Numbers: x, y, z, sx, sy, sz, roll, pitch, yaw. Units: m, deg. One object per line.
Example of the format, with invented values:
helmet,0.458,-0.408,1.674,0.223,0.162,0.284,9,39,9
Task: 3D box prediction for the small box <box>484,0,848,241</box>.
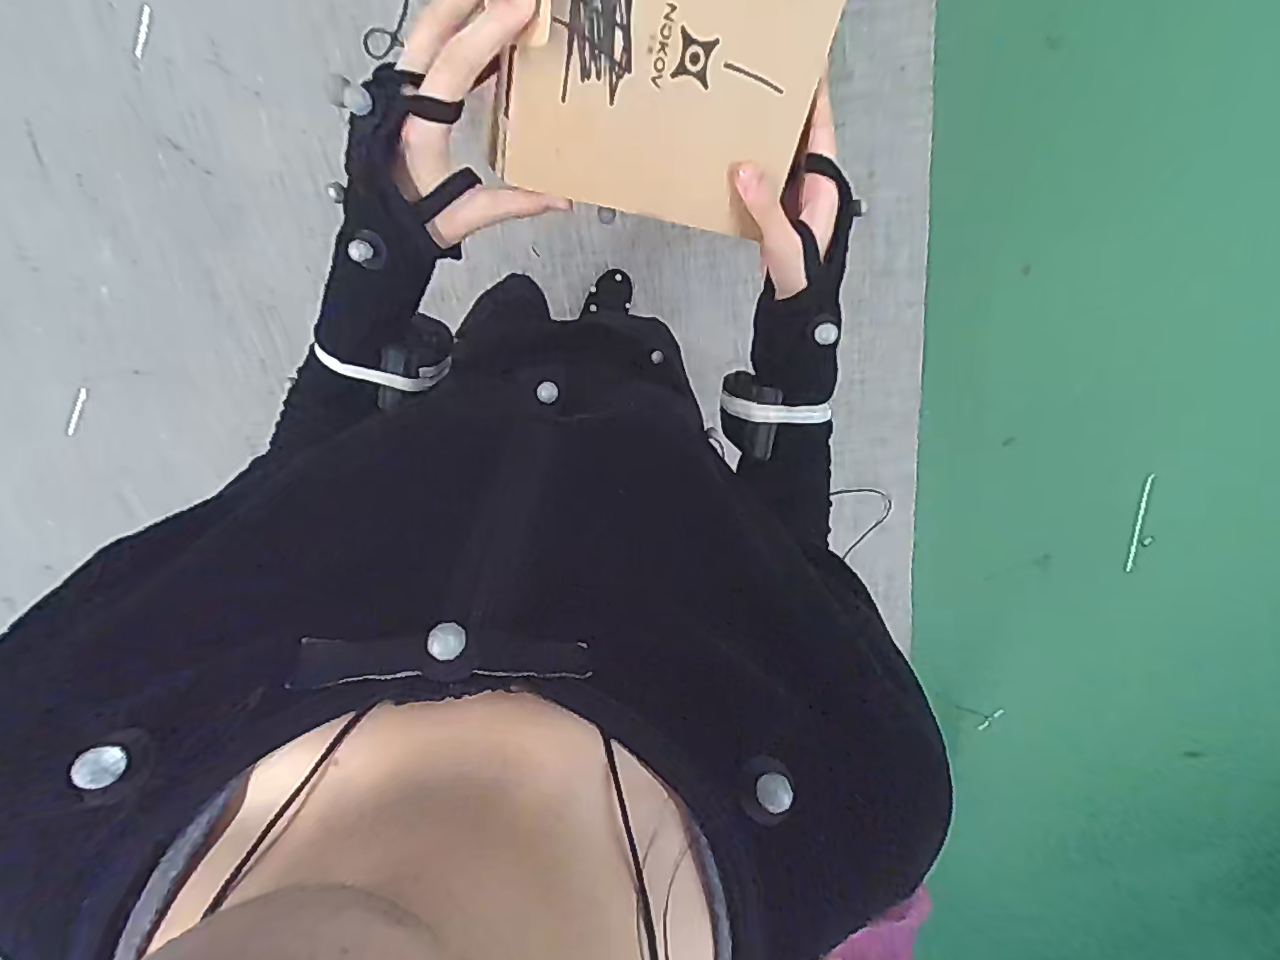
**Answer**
small box,-0.001,-0.271,0.349,0.179,0.176,0.168,2,122,-23
